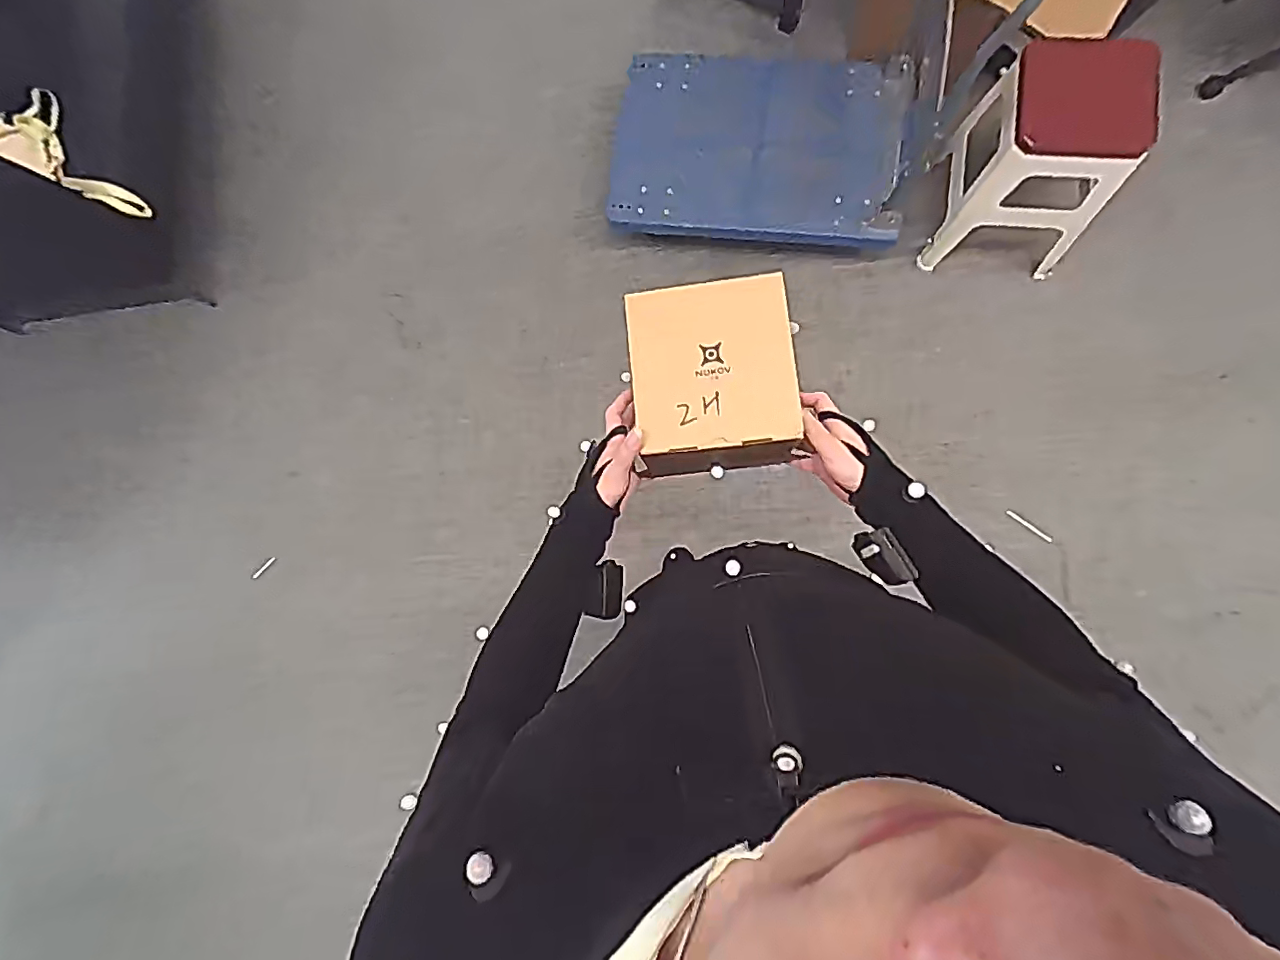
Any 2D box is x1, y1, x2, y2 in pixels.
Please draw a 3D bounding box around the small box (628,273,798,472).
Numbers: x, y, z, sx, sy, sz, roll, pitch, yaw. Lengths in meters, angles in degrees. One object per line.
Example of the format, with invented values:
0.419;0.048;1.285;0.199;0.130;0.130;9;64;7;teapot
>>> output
0.080;-0.113;0.635;0.168;0.176;0.179;-5;82;6;small box
